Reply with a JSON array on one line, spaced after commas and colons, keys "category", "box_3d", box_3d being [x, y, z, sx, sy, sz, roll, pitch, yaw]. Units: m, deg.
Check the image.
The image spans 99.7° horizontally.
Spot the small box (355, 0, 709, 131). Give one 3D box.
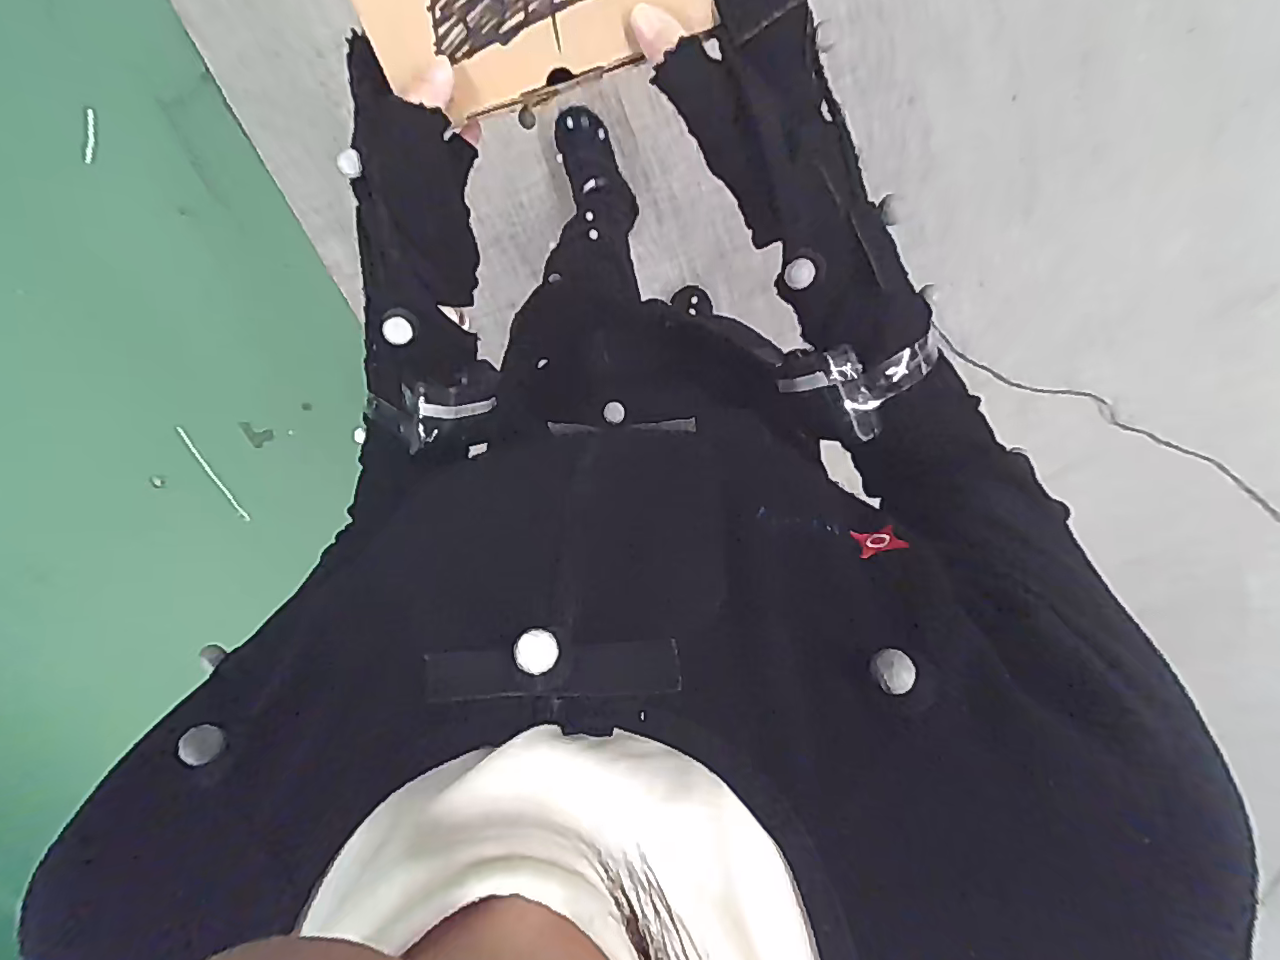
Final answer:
[{"category": "small box", "box_3d": [-0.061, -0.317, 0.287, 0.168, 0.176, 0.179, -12, 126, 11]}]
